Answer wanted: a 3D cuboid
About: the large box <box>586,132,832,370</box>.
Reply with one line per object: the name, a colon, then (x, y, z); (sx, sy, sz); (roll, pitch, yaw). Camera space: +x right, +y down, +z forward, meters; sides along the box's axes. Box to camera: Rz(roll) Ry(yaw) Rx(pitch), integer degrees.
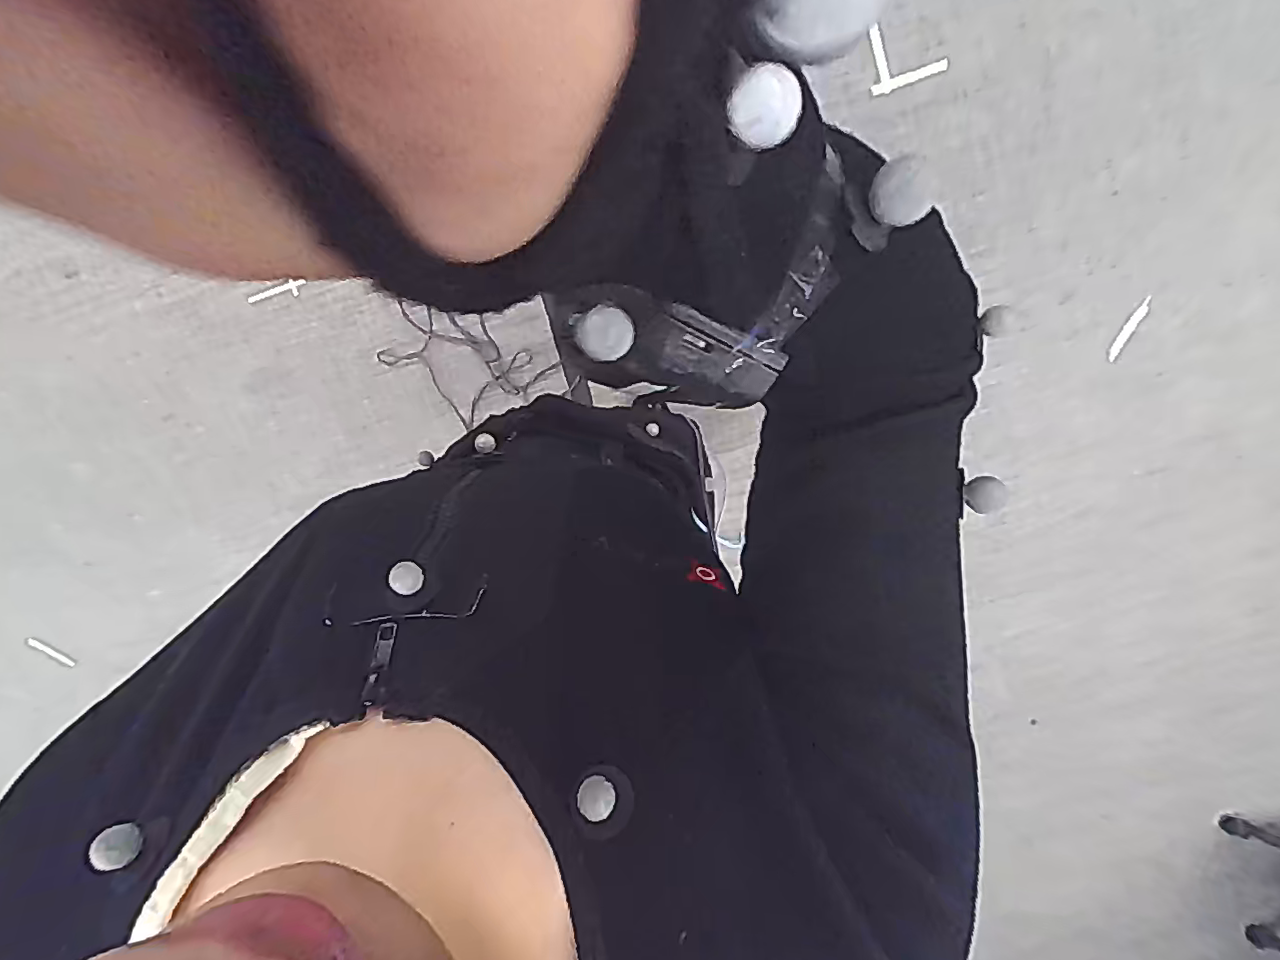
large box: (0.132, -0.450, 1.155); (0.408, 0.320, 0.320); (-17, 99, 2)
